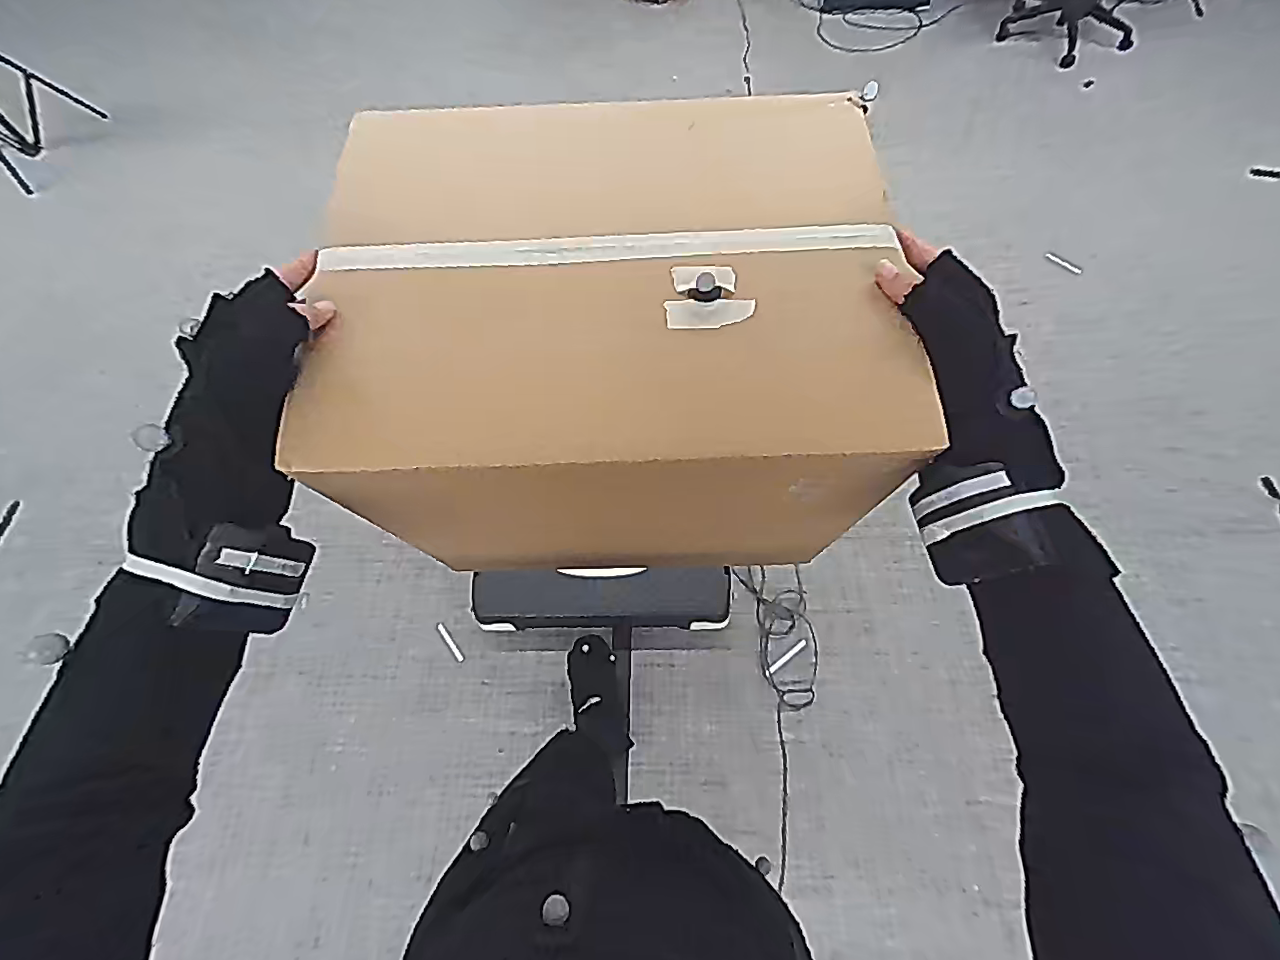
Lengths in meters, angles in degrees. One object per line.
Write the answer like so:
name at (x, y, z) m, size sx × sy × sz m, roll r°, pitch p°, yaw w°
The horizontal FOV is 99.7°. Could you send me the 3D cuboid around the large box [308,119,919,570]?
large box at (-0.021, -0.101, 0.539) m, size 0.408 × 0.320 × 0.320 m, roll -2°, pitch 69°, yaw 0°
